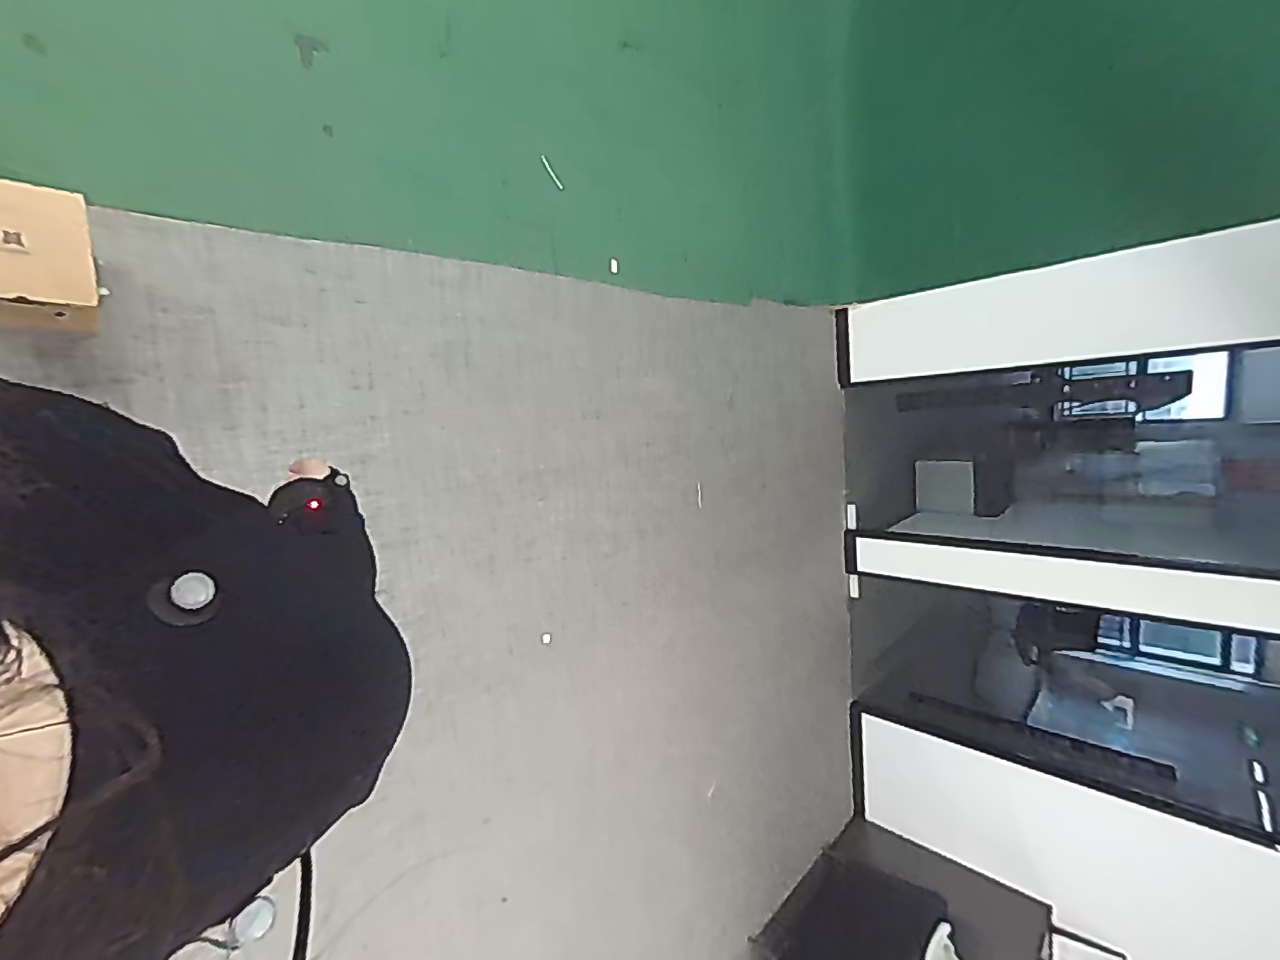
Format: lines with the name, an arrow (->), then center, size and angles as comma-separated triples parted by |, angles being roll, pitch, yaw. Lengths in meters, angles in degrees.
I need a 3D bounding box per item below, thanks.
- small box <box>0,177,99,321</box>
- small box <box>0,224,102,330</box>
small box -> -0.967, -0.352, 0.841 | 0.168, 0.176, 0.179 | -9, 98, -46
small box -> -1.081, -0.366, 0.955 | 0.179, 0.176, 0.168 | -7, 98, -46
